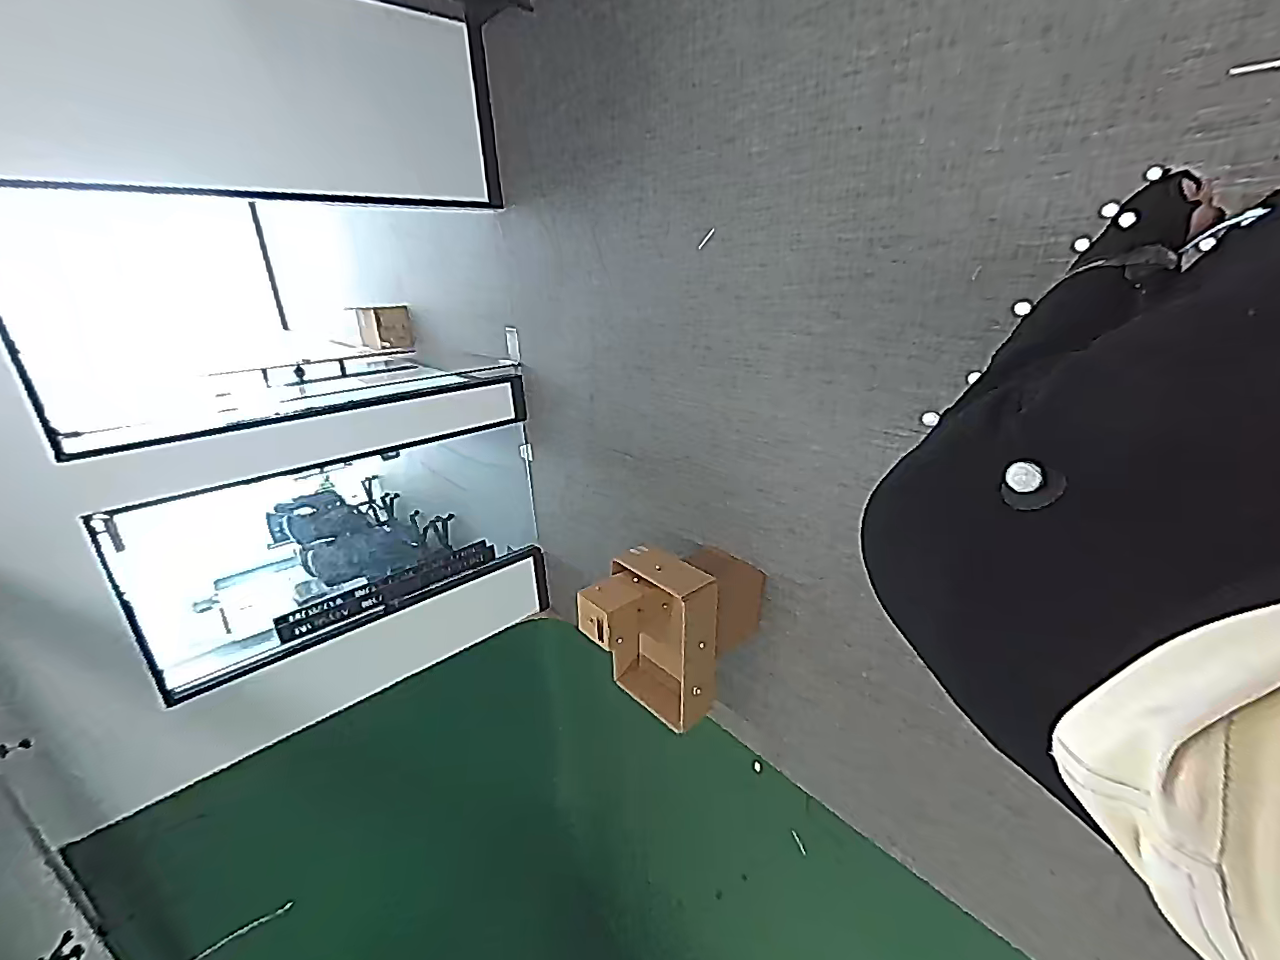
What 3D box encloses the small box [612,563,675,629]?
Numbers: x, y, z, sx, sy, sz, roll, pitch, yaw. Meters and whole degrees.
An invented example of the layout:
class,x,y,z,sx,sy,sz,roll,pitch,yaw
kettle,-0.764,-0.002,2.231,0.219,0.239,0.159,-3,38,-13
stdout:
class,x,y,z,sx,sy,sz,roll,pitch,yaw
small box,0.012,0.435,2.072,0.179,0.176,0.168,23,121,43
